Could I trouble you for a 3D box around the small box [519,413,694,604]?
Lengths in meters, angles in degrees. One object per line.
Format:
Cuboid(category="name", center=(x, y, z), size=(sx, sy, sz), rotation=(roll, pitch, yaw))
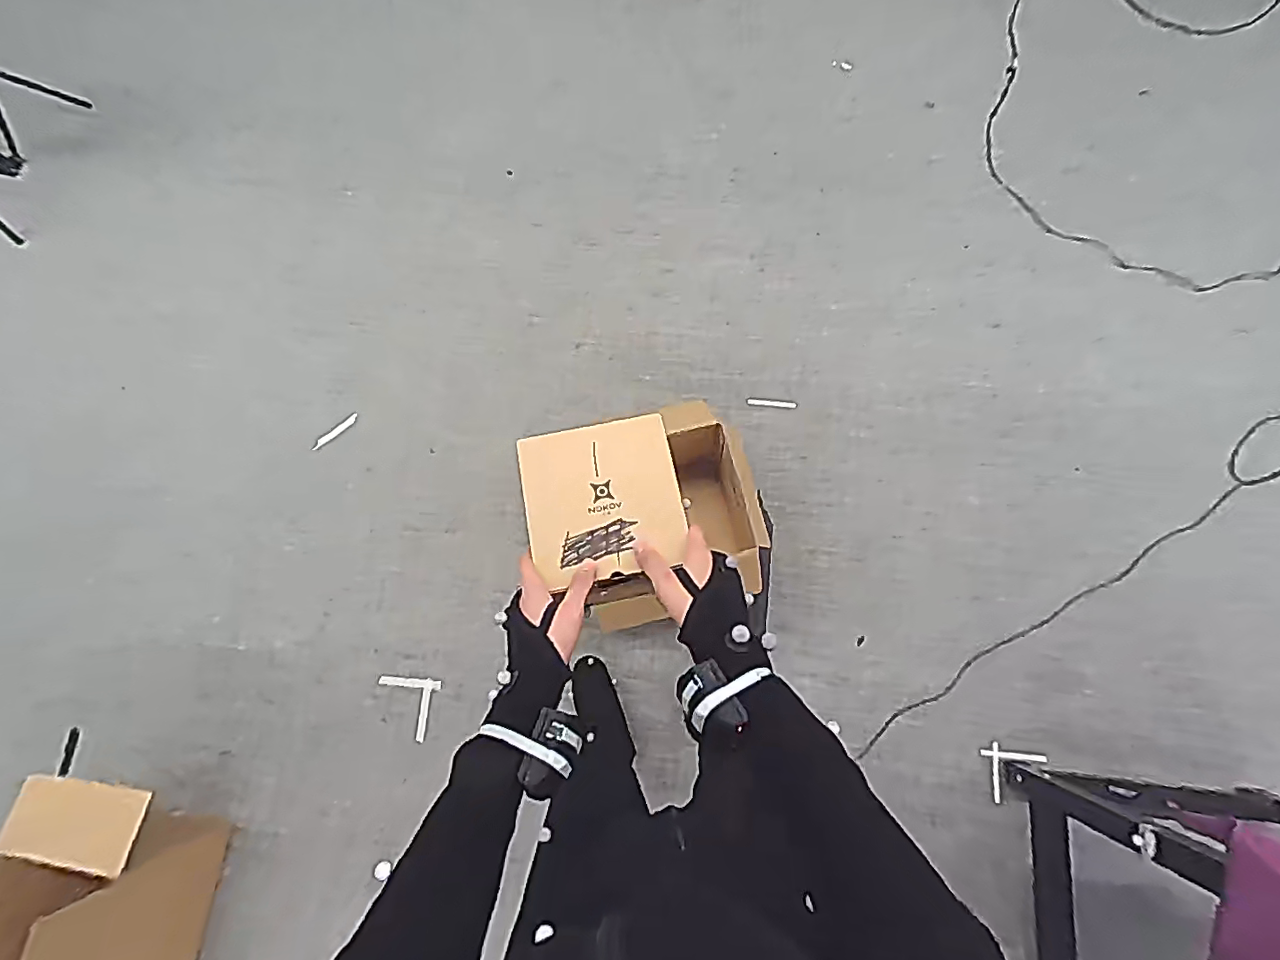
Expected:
Cuboid(category="small box", center=(-0.036, 0.045, 0.645), size=(0.168, 0.176, 0.179), rotation=(-11, 70, -3))
